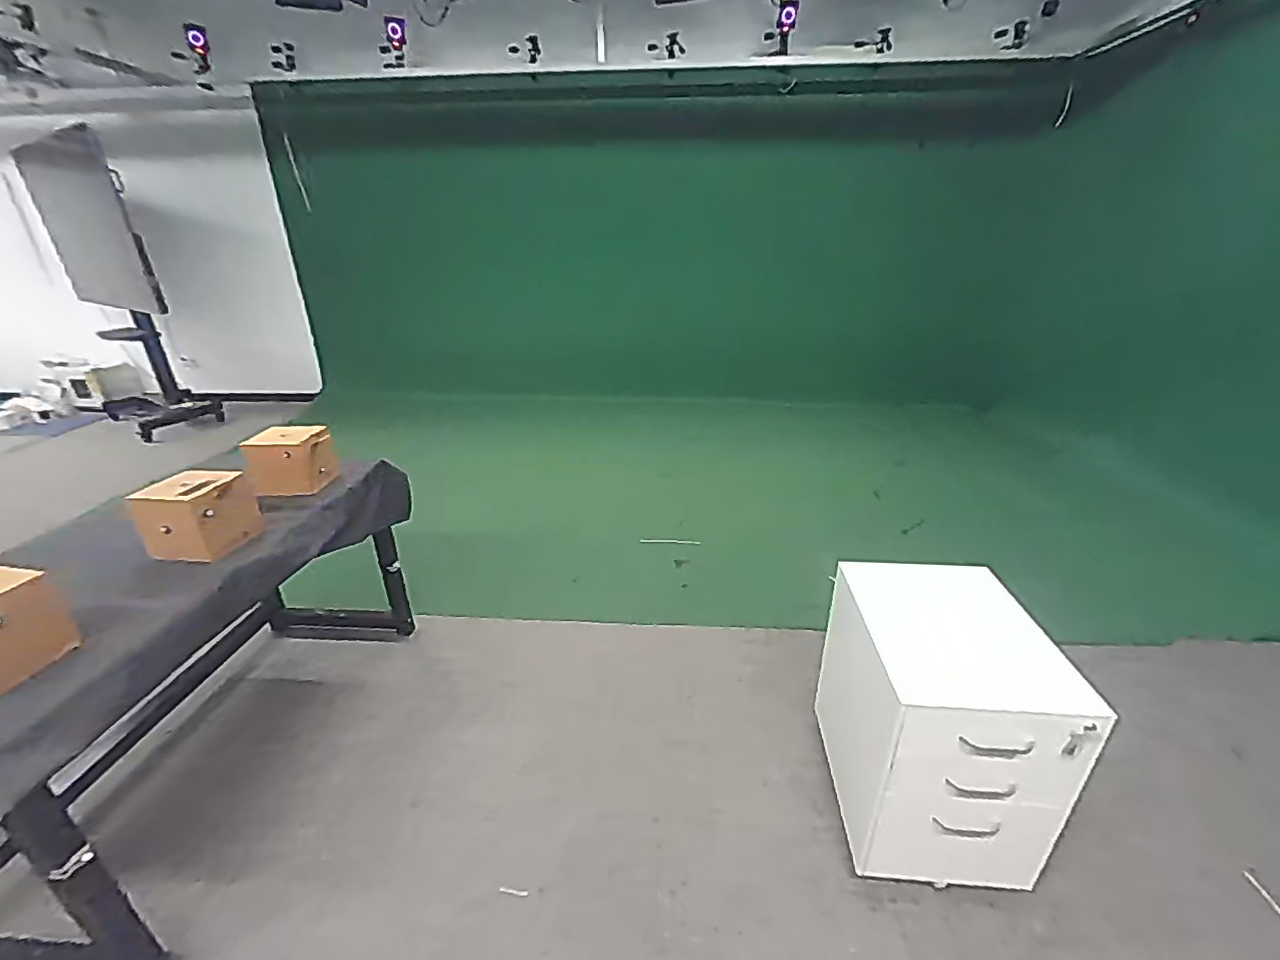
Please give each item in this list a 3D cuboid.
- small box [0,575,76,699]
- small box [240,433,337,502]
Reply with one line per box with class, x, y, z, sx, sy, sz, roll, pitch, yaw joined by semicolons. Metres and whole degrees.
small box;-1.157;0.282;0.933;0.168;0.176;0.179;5;23;10
small box;-1.072;-0.039;1.664;0.179;0.176;0.168;-1;24;-1
